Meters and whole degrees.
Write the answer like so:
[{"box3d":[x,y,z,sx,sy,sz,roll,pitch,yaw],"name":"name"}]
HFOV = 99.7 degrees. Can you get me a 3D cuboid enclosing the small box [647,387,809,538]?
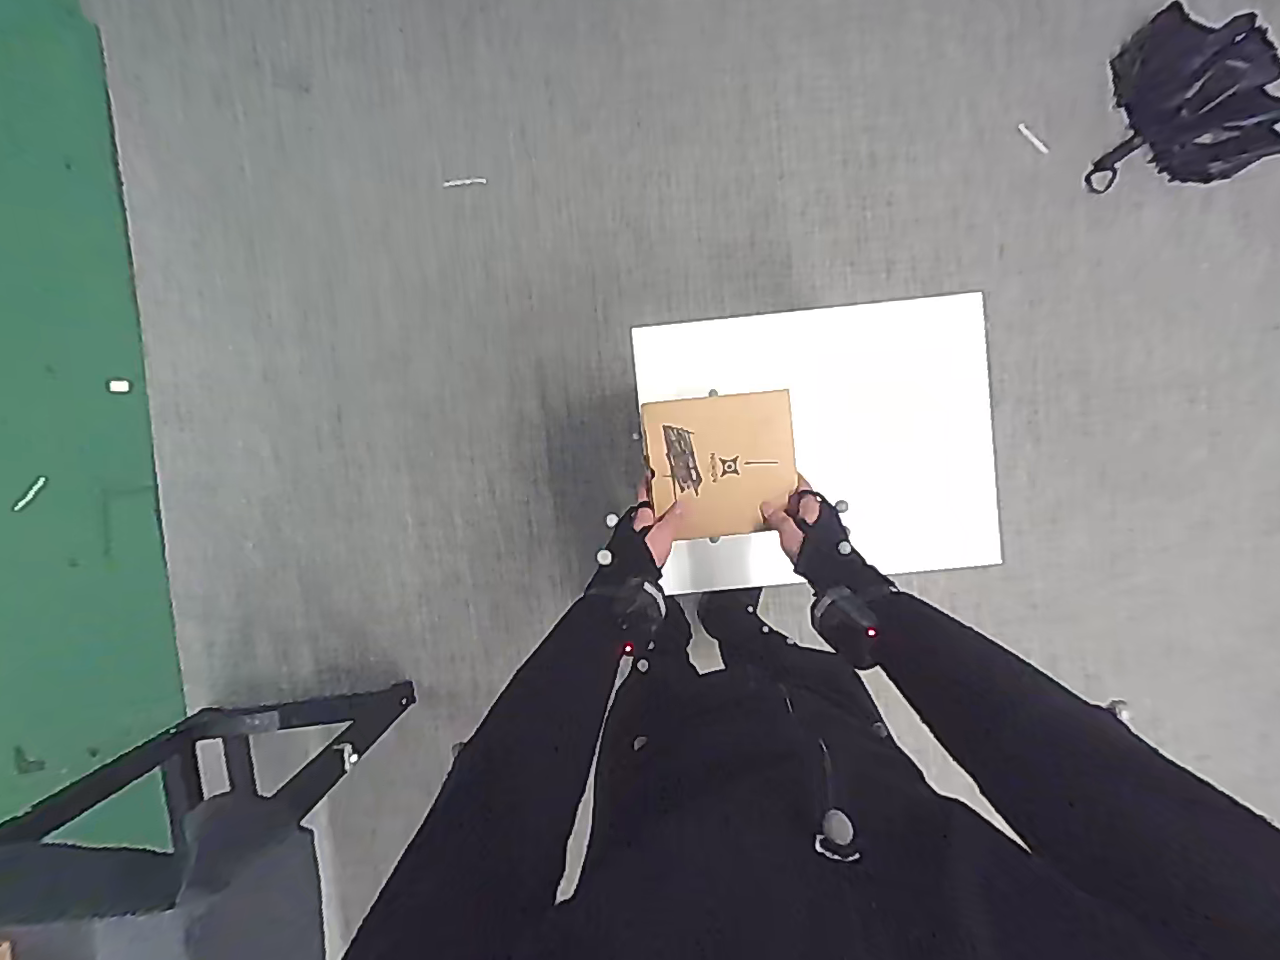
[{"box3d":[0.101,-0.023,0.698,0.179,0.176,0.168,-5,93,-2],"name":"small box"}]
